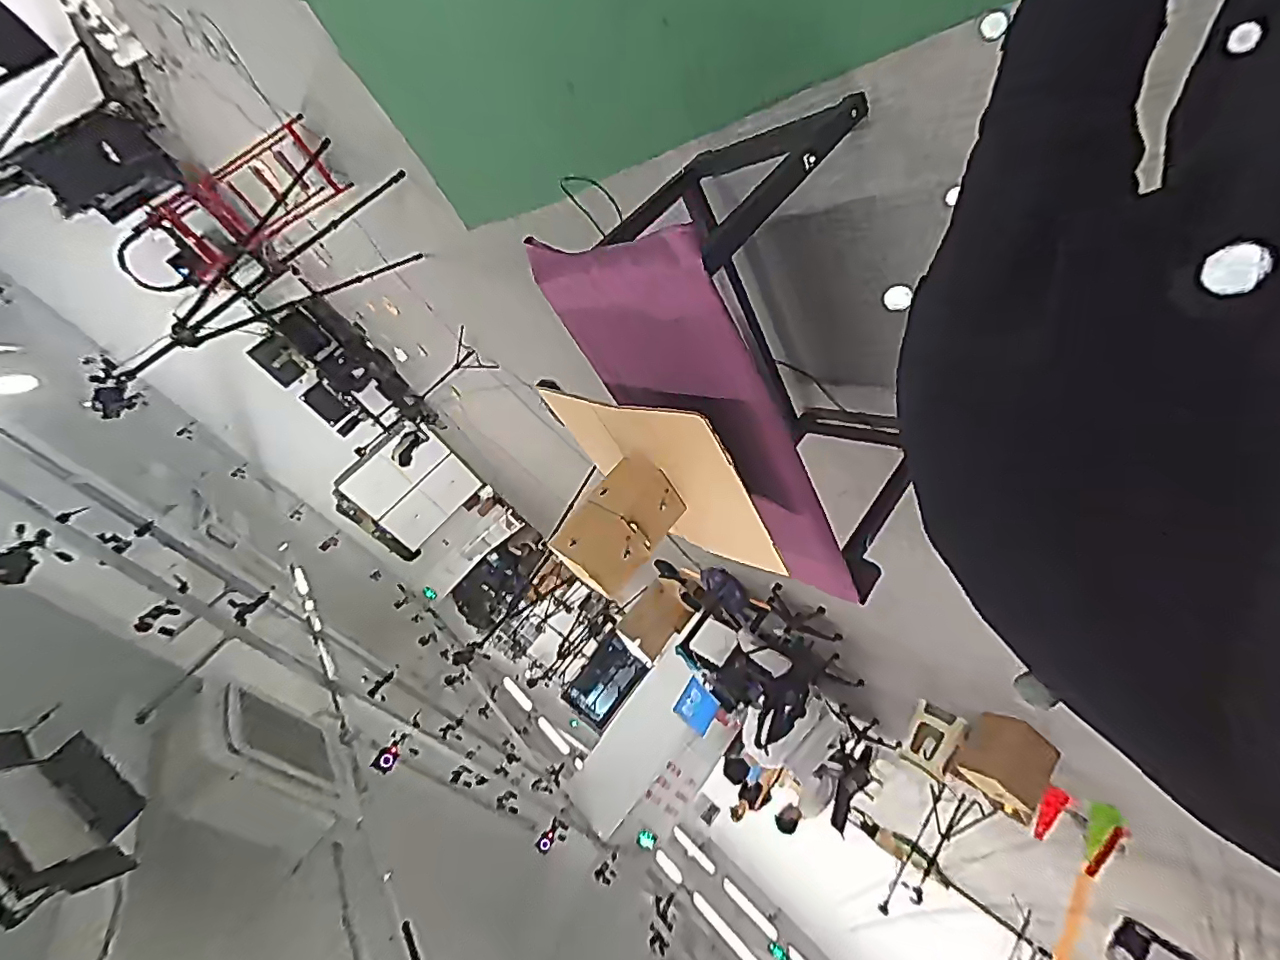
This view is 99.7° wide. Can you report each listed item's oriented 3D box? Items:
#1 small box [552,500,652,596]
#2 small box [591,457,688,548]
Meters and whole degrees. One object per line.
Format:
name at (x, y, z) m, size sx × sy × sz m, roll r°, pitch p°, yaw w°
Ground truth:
small box at (-0.099, 0.176, 1.470) m, size 0.179 × 0.176 × 0.168 m, roll 20°, pitch 153°, yaw 50°
small box at (0.001, 0.058, 1.522) m, size 0.179 × 0.176 × 0.168 m, roll 22°, pitch 155°, yaw 48°
